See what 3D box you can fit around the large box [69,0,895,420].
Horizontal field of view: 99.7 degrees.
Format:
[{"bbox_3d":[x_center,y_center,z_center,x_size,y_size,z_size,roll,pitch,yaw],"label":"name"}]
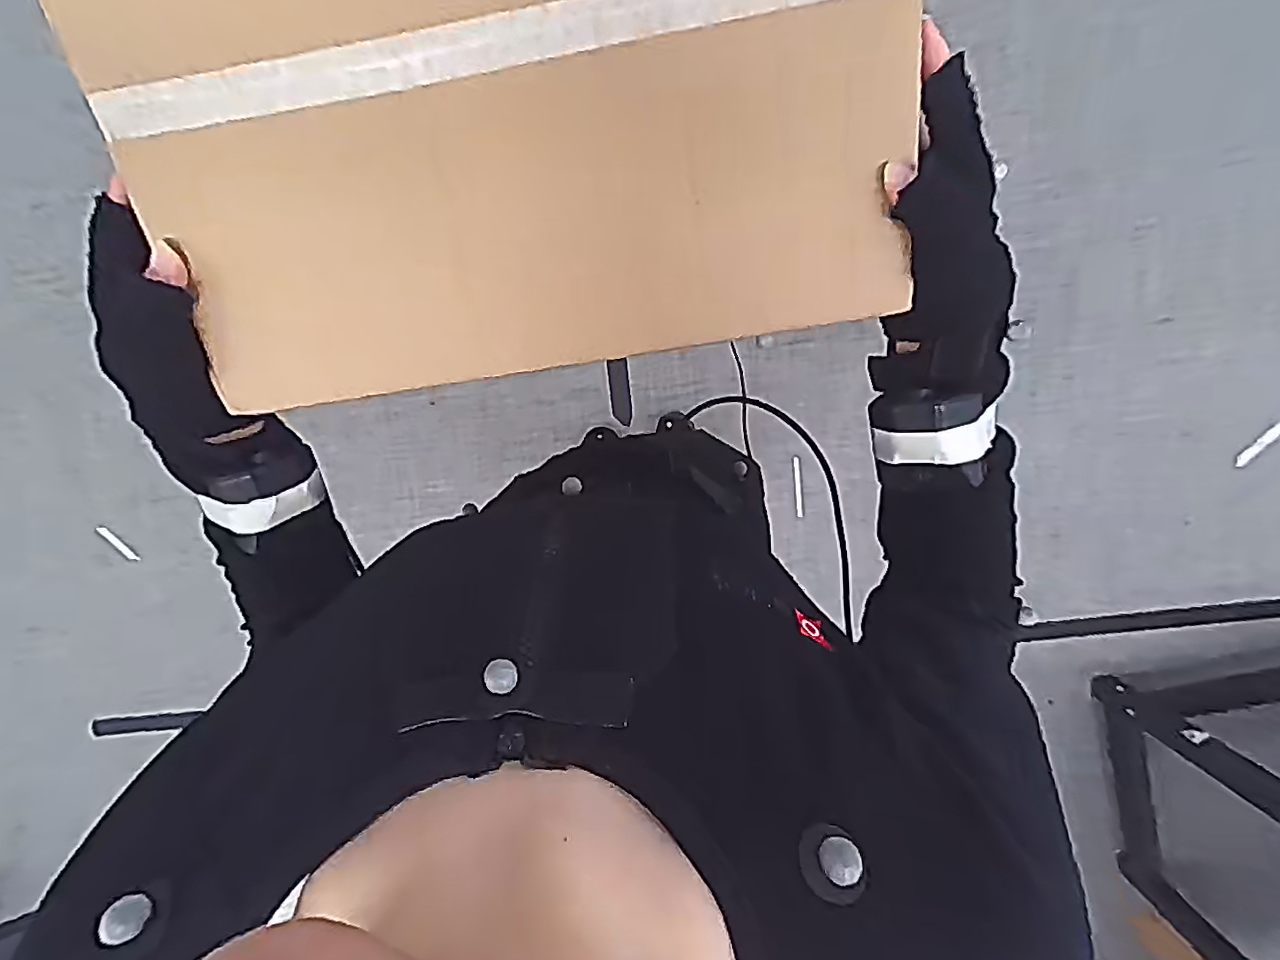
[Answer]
[{"bbox_3d":[-0.070,-0.262,0.411,0.408,0.320,0.320,-8,110,4],"label":"large box"}]
